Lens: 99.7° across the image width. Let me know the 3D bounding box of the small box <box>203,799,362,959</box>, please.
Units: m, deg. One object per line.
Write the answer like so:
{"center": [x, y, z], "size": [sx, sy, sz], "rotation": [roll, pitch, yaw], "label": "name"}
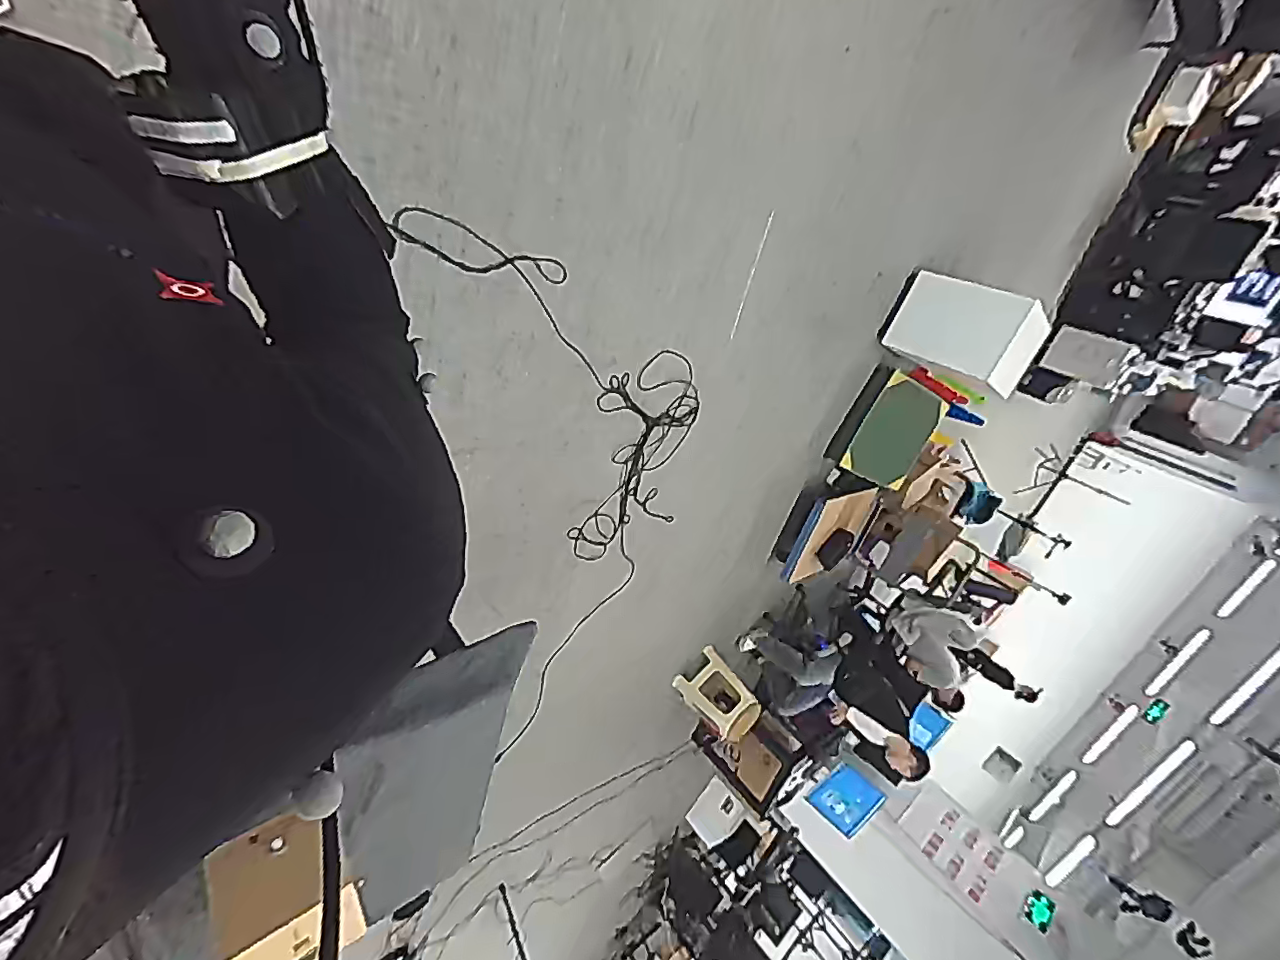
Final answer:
{"center": [-0.556, 0.651, 0.848], "size": [0.168, 0.176, 0.179], "rotation": [-17, 130, -37], "label": "small box"}
